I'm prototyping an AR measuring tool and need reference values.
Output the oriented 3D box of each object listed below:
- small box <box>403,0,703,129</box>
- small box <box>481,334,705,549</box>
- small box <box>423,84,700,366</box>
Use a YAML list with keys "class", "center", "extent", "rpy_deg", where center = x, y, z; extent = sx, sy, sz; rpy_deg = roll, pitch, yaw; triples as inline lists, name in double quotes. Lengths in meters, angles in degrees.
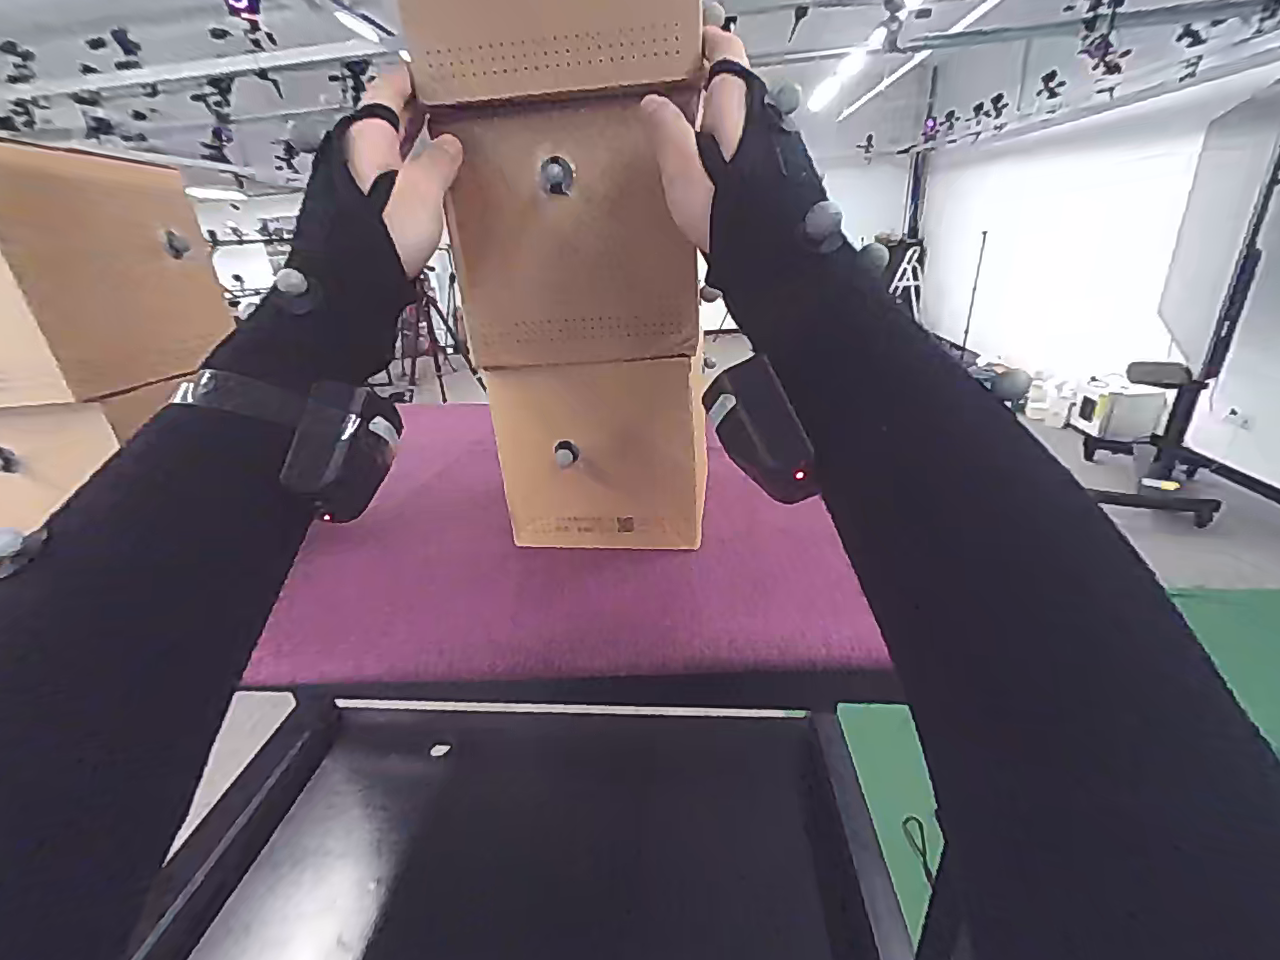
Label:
- class: "small box"
  center: [-0.050, -0.335, 0.360]
  extent: [0.179, 0.176, 0.168]
  rpy_deg: [-2, 24, 5]
- class: "small box"
  center: [-0.026, -0.046, 0.513]
  extent: [0.168, 0.176, 0.179]
  rpy_deg: [0, 23, 9]
- class: "small box"
  center: [-0.042, -0.192, 0.441]
  extent: [0.179, 0.176, 0.168]
  rpy_deg: [-1, 24, 6]
